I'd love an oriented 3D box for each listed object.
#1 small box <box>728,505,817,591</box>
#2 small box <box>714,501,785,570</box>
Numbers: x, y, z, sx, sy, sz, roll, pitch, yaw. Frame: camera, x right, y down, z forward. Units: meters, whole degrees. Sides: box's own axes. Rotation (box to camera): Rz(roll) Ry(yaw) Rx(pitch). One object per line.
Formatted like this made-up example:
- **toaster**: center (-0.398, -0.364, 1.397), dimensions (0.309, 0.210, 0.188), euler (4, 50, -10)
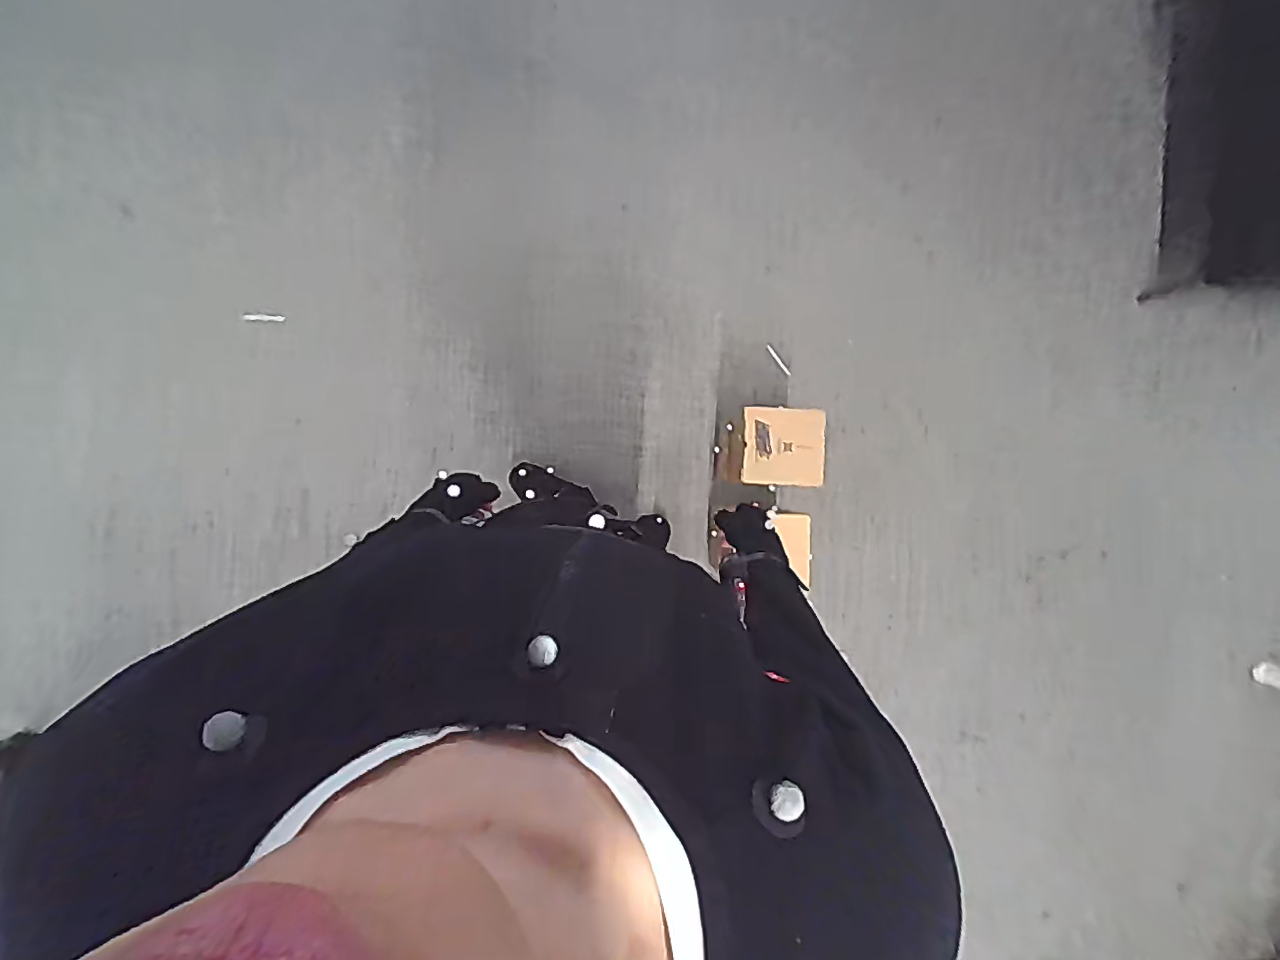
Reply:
- **small box**: center (0.294, 0.148, 1.232), dimensions (0.168, 0.176, 0.179), euler (0, 92, 1)
- **small box**: center (0.291, 0.140, 1.396), dimensions (0.179, 0.176, 0.168), euler (2, 91, 1)
